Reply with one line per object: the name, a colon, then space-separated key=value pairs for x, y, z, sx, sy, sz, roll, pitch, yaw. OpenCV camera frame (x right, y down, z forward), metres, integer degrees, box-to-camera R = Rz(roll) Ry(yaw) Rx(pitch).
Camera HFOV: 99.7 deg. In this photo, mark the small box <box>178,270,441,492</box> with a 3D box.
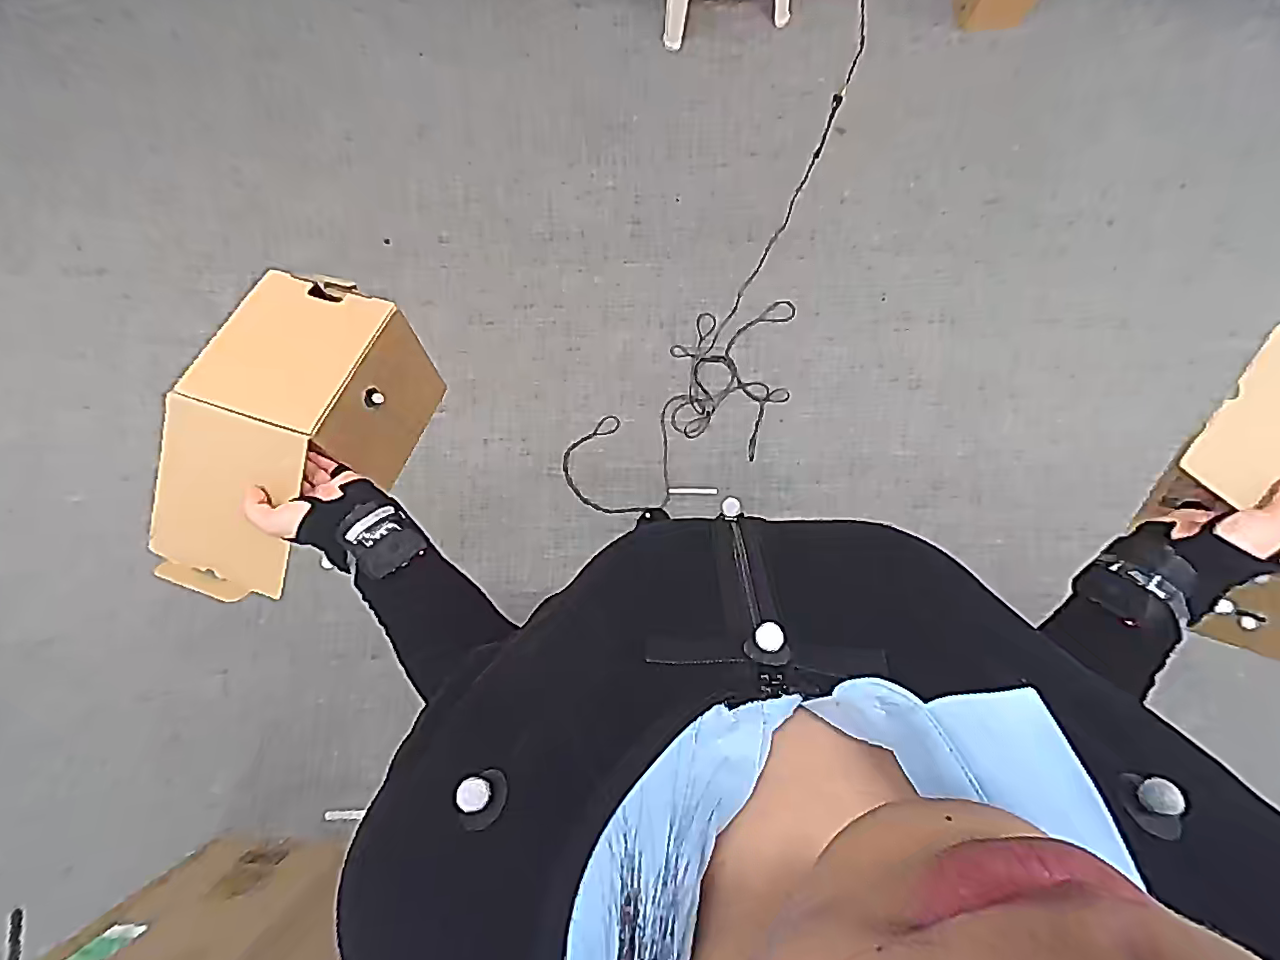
small box: x=-0.364 y=-0.108 z=0.640 sx=0.168 sy=0.176 sz=0.179 roll=17 pitch=67 yaw=8
